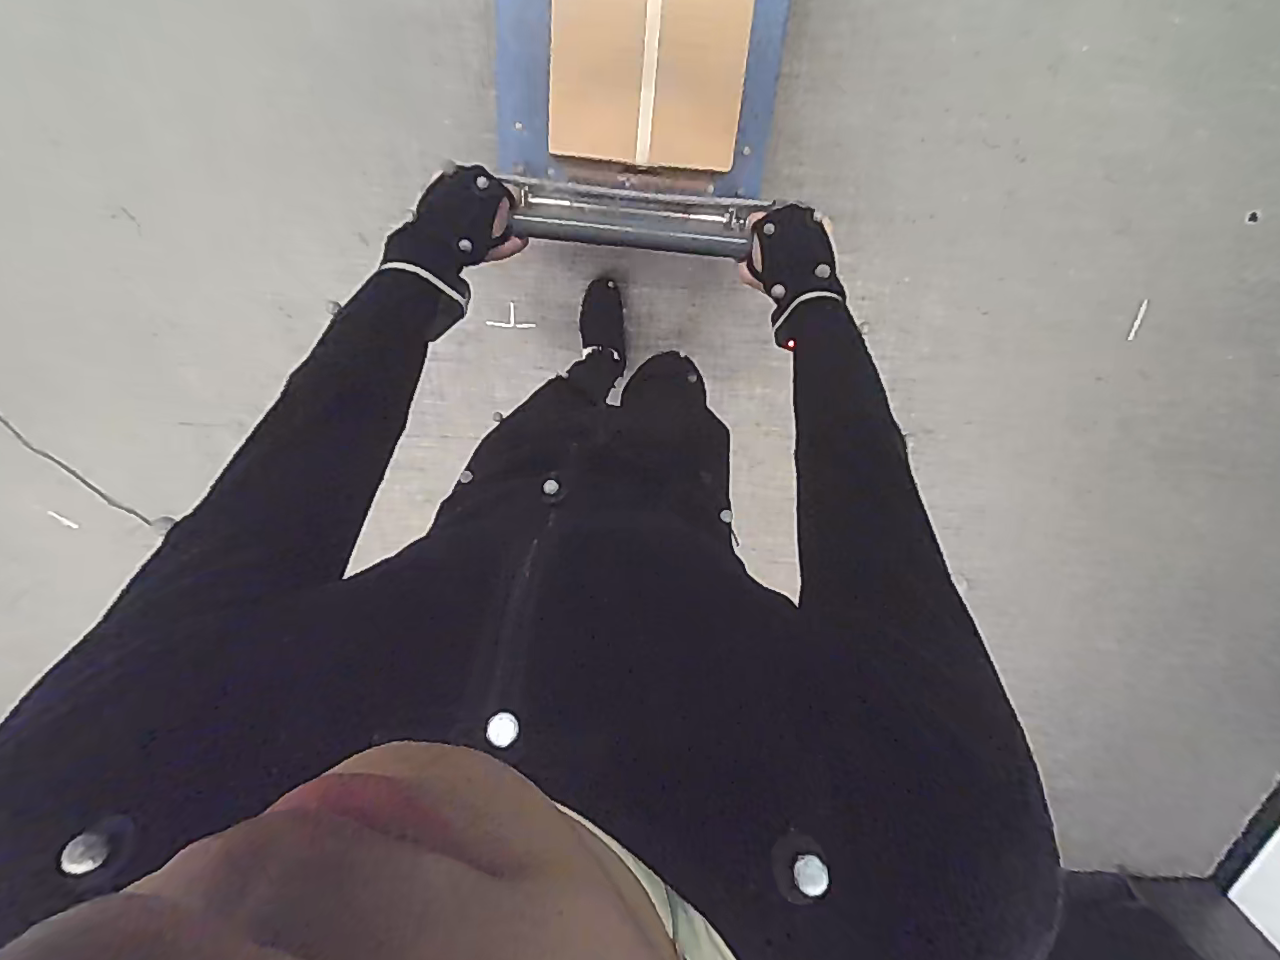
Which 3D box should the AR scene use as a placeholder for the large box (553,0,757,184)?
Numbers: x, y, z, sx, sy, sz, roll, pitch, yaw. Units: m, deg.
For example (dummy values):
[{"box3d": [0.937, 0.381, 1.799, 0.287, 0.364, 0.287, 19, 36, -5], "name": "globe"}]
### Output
[{"box3d": [0.025, -0.784, 0.972, 0.320, 0.320, 0.408, 5, 113, -3], "name": "large box"}]
